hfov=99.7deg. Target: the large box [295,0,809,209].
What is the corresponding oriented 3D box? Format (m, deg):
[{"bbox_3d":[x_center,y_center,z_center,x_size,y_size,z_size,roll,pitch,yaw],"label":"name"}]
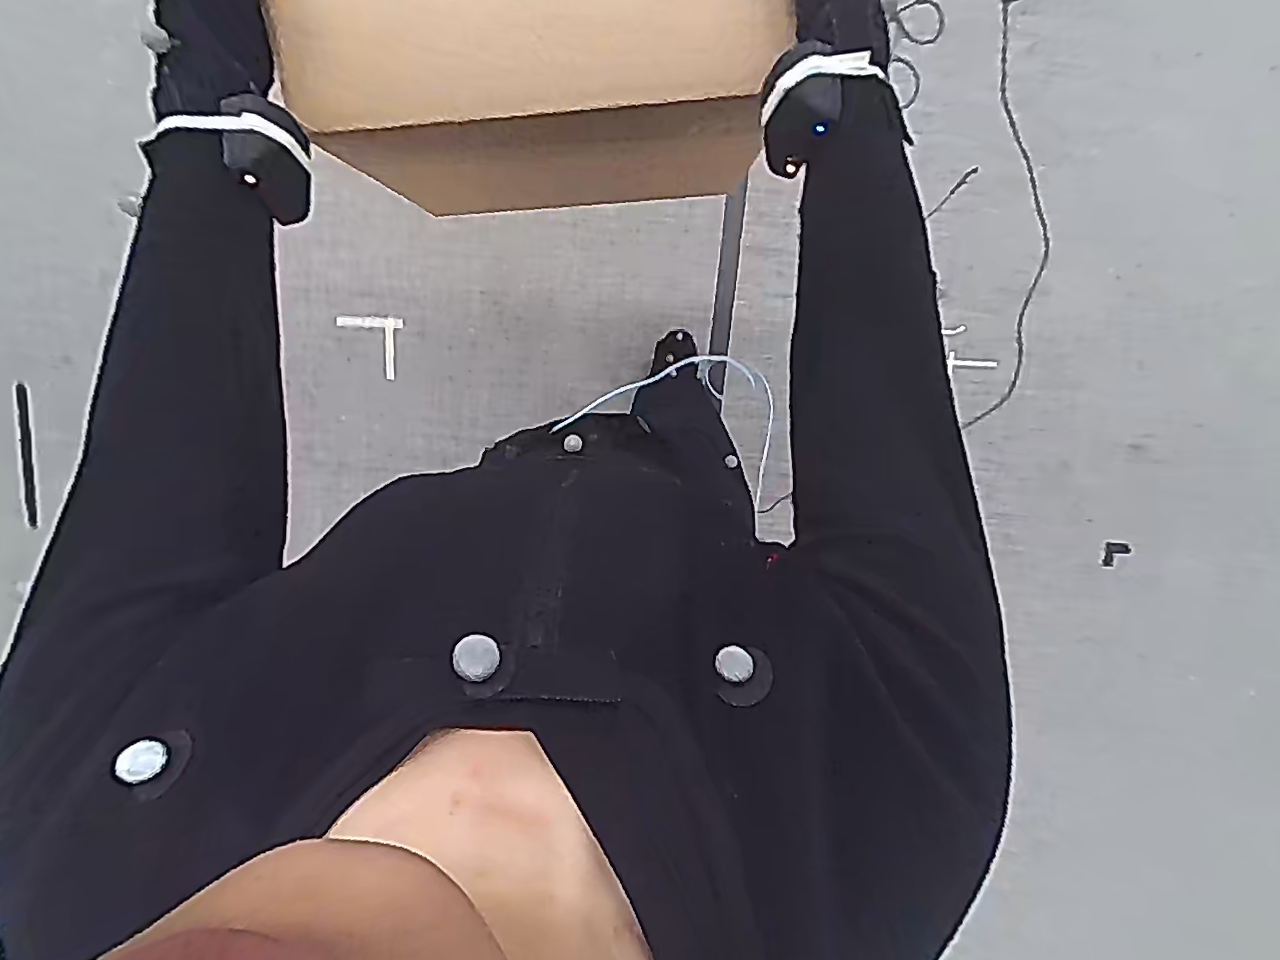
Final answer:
[{"bbox_3d":[-0.076,-0.487,0.542,0.408,0.320,0.320,-3,105,0],"label":"large box"}]
